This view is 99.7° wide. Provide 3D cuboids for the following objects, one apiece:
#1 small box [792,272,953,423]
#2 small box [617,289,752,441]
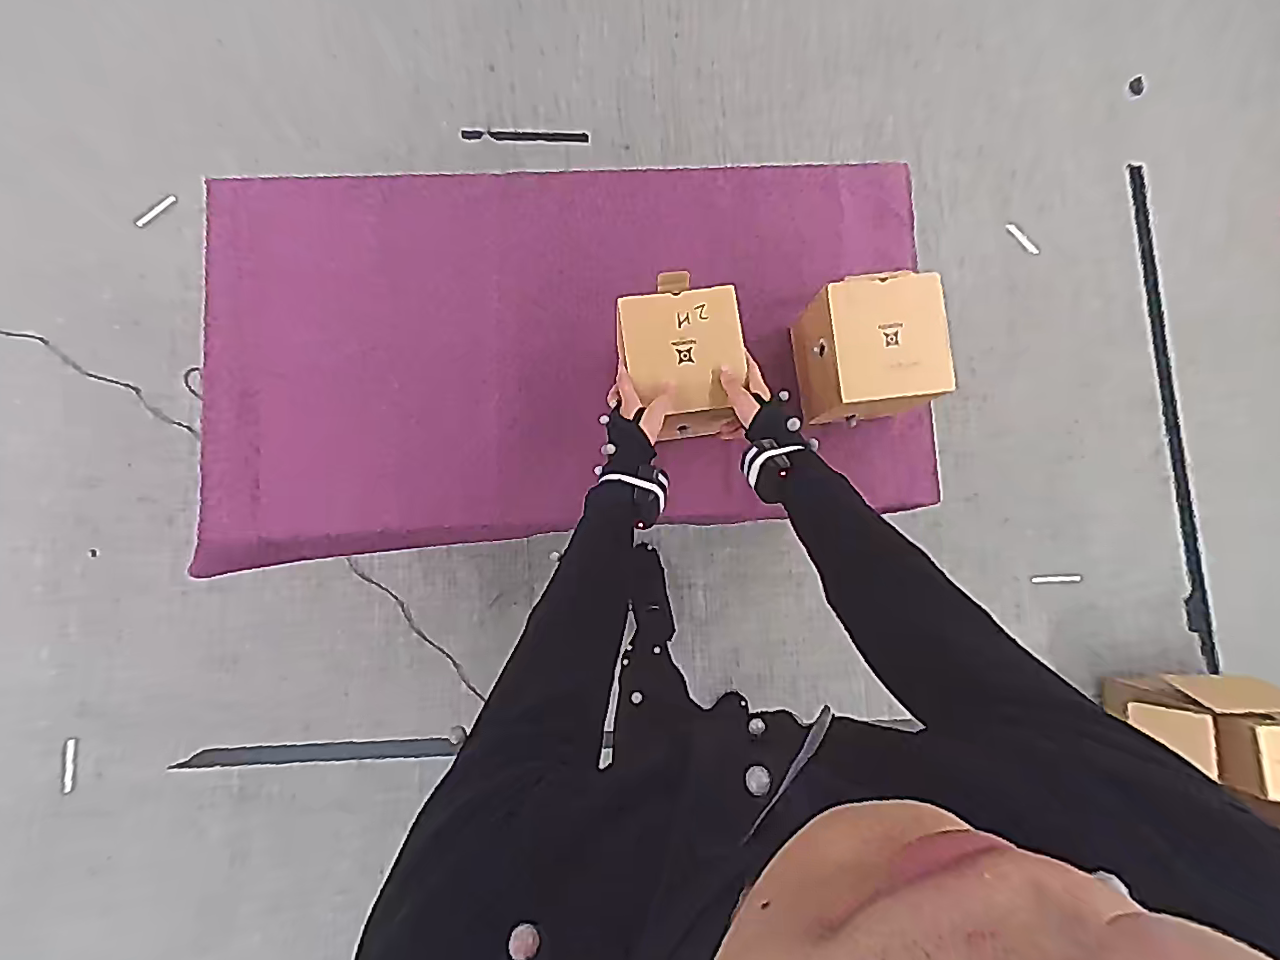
[{"bbox_3d":[0.348,-0.198,0.843,0.168,0.176,0.179,-6,84,-2],"label":"small box"},{"bbox_3d":[0.058,-0.161,0.817,0.168,0.176,0.179,-8,82,-4],"label":"small box"}]
